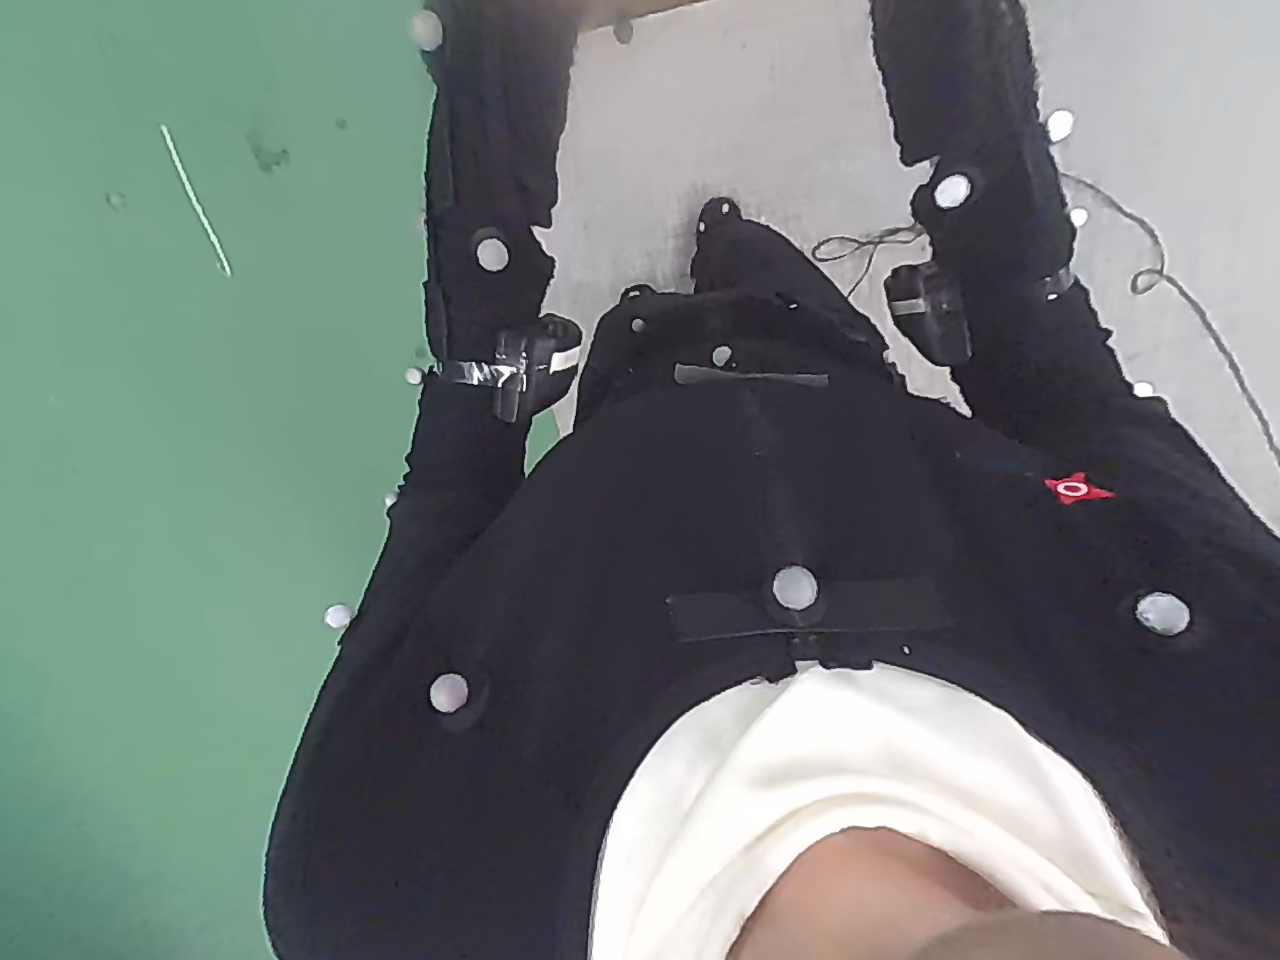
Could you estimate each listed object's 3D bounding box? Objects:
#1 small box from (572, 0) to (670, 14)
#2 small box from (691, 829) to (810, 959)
[{"bbox_3d":[0.021,-0.350,0.250,0.168,0.176,0.179,-9,121,6],"label":"small box"},{"bbox_3d":[0.189,0.742,0.927,0.168,0.176,0.179,-13,111,4],"label":"small box"}]
